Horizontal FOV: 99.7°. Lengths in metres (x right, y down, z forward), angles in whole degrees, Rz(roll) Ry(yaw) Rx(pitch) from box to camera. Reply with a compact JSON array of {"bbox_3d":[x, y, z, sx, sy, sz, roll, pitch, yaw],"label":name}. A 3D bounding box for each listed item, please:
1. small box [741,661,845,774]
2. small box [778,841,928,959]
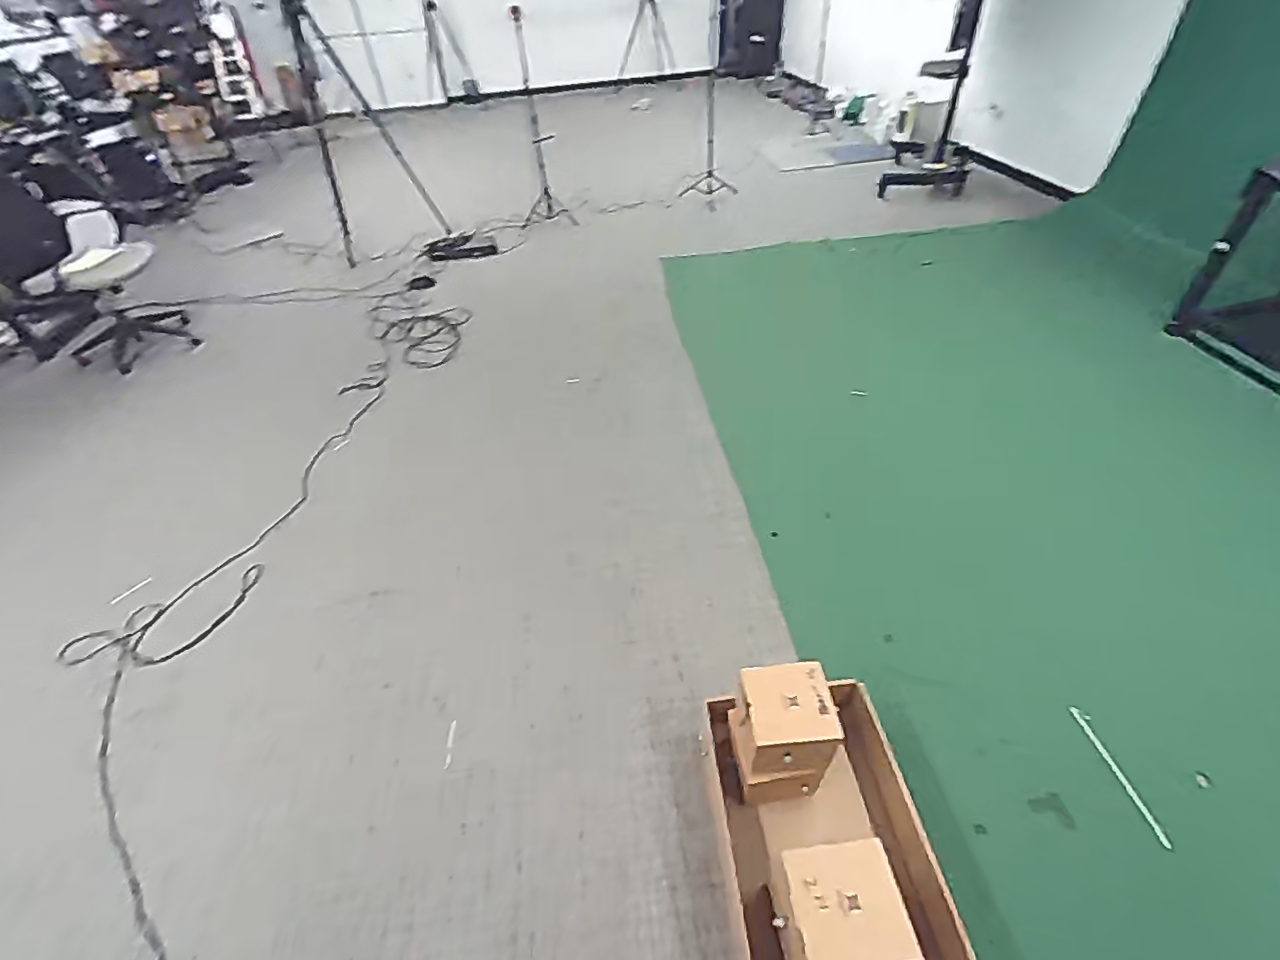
[{"bbox_3d":[0.315,0.509,1.154,0.179,0.176,0.168,-6,44,1],"label":"small box"},{"bbox_3d":[0.346,0.737,0.916,0.179,0.176,0.168,-7,43,0],"label":"small box"}]
